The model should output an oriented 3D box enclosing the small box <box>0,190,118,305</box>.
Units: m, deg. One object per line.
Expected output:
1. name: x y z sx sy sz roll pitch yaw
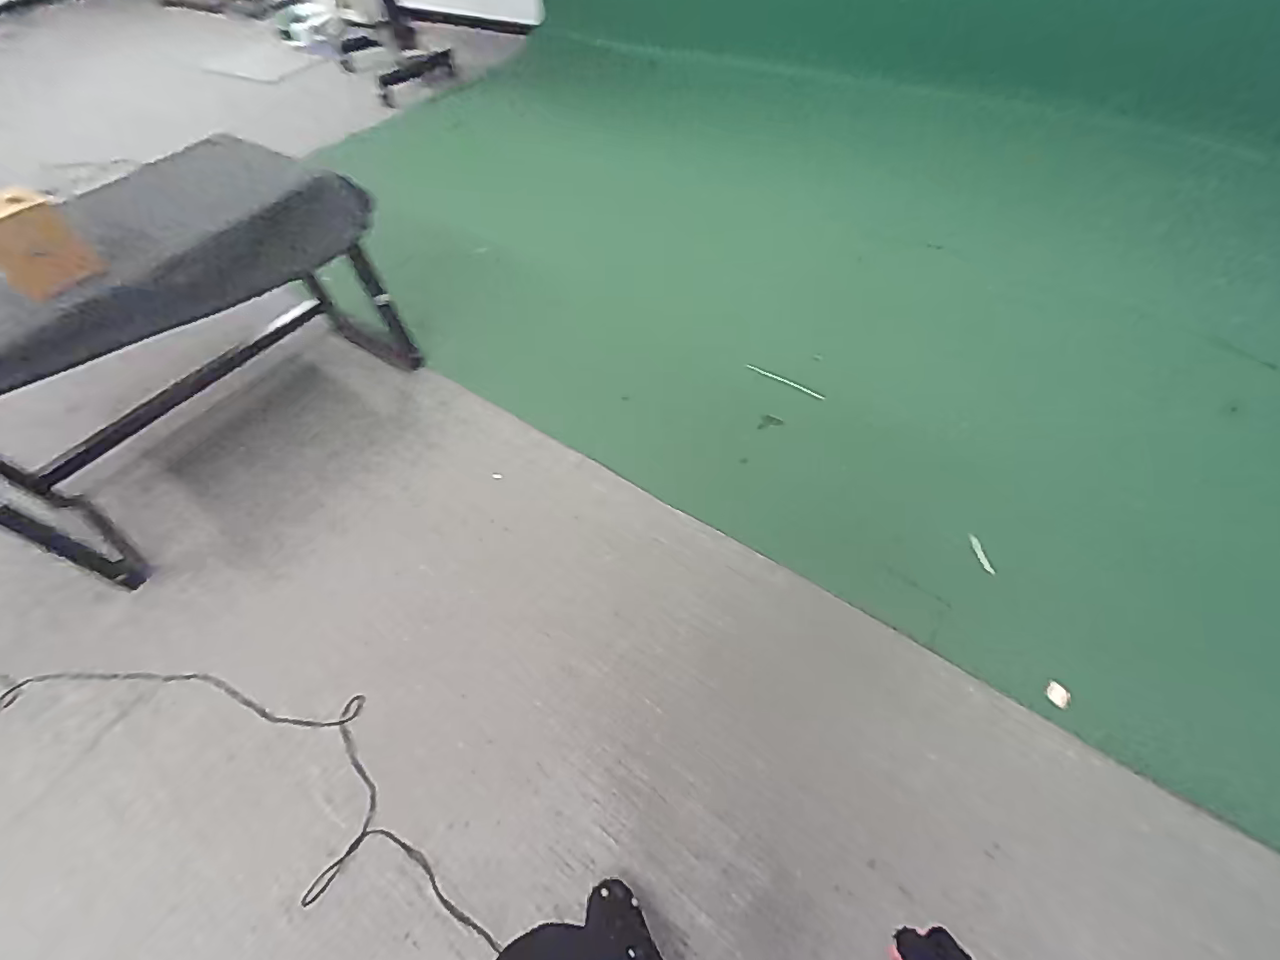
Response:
1. small box: -1.400 -0.547 1.276 0.168 0.176 0.179 26 60 23
